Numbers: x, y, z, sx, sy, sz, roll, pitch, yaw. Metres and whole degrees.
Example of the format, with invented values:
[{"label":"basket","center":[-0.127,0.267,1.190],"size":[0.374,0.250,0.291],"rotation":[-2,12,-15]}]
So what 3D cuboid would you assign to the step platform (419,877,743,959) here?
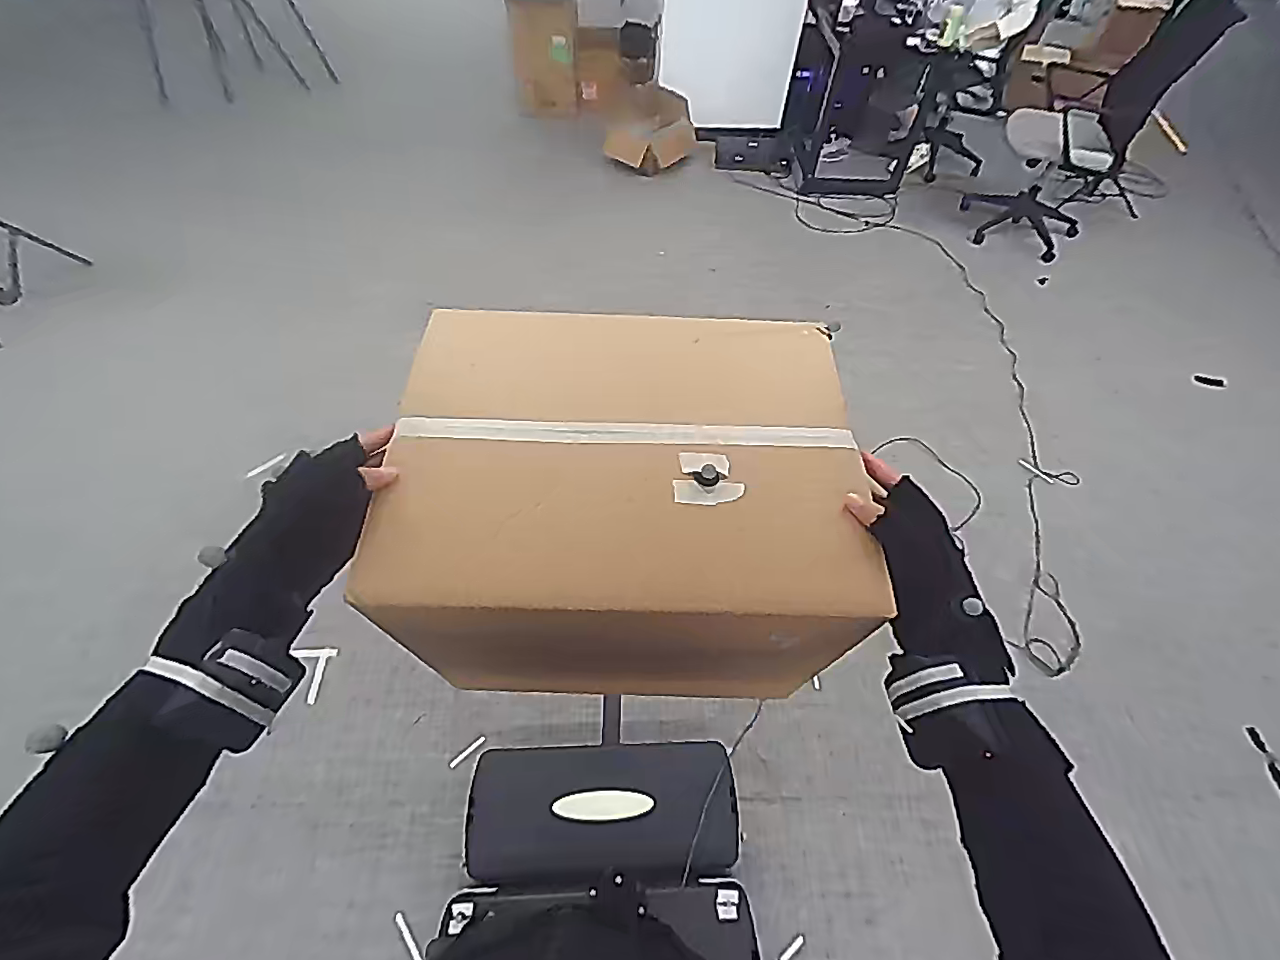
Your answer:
[{"label":"step platform","center":[-0.121,1.044,1.162],"size":[0.684,0.204,0.286],"rotation":[-1,55,-2]}]

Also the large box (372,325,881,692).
[{"label":"large box","center":[-0.014,0.050,0.619],"size":[0.408,0.320,0.320],"rotation":[2,58,-2]}]
